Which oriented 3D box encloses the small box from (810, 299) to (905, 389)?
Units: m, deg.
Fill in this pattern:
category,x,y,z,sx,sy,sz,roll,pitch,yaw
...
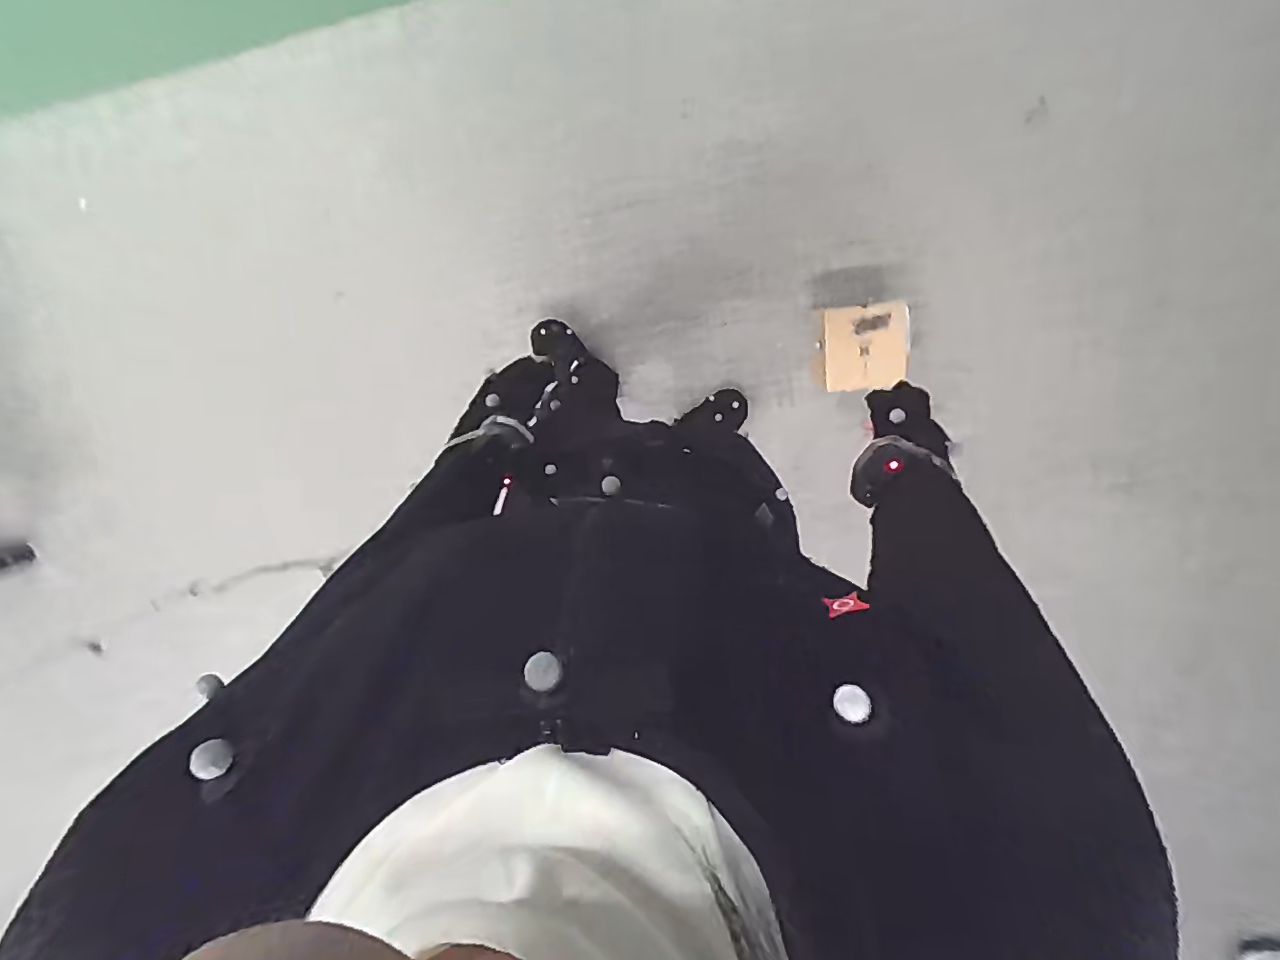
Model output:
category,x,y,z,sx,sy,sz,roll,pitch,yaw
small box,0.485,-0.307,1.228,0.168,0.176,0.179,-4,105,8
